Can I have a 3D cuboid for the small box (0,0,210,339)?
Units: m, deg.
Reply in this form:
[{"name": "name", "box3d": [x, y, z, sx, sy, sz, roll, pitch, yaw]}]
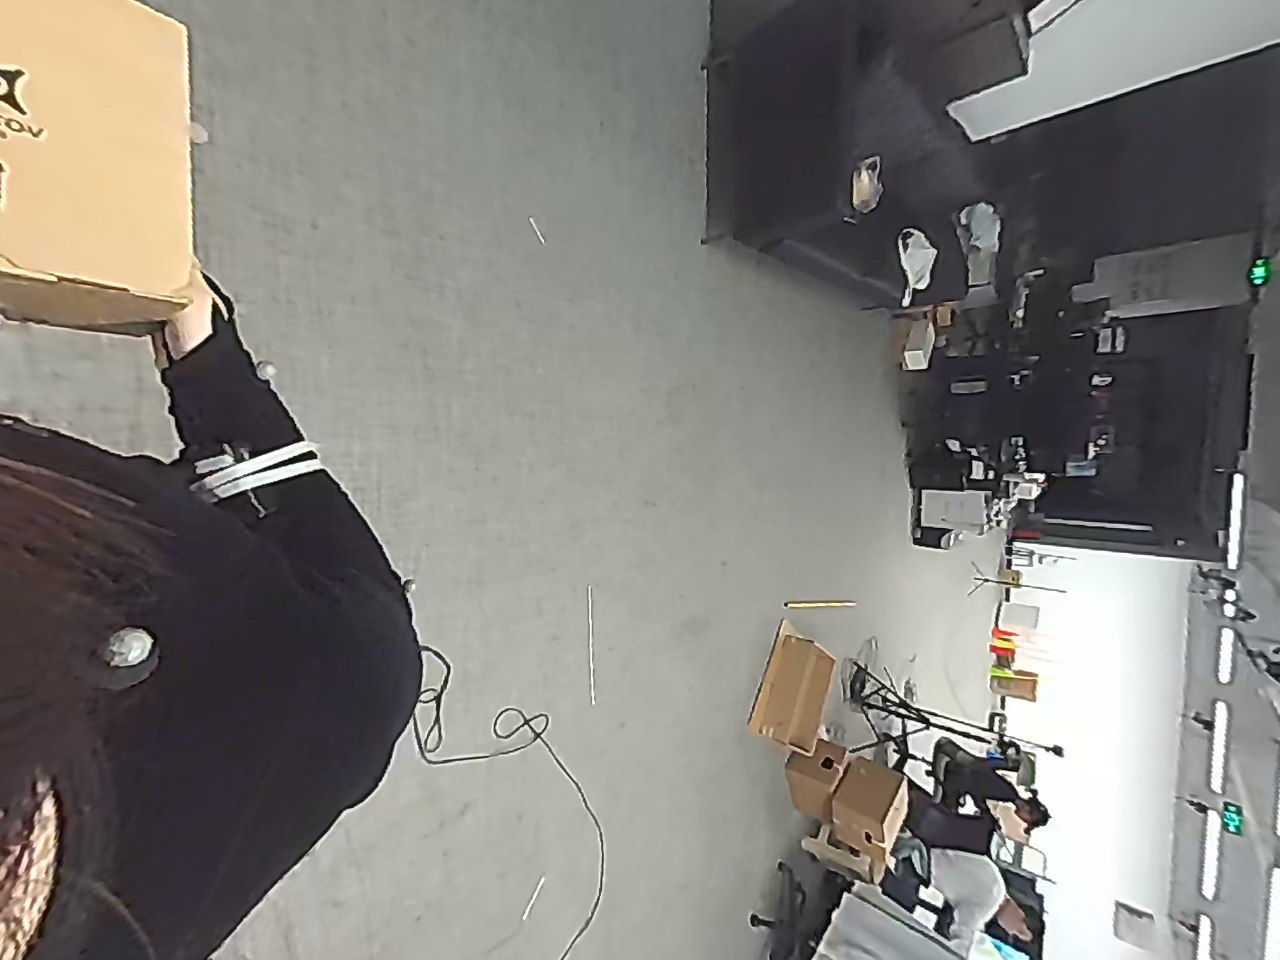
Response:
[{"name": "small box", "box3d": [-0.389, -0.197, 0.333, 0.168, 0.176, 0.179, -3, 94, -50]}]
